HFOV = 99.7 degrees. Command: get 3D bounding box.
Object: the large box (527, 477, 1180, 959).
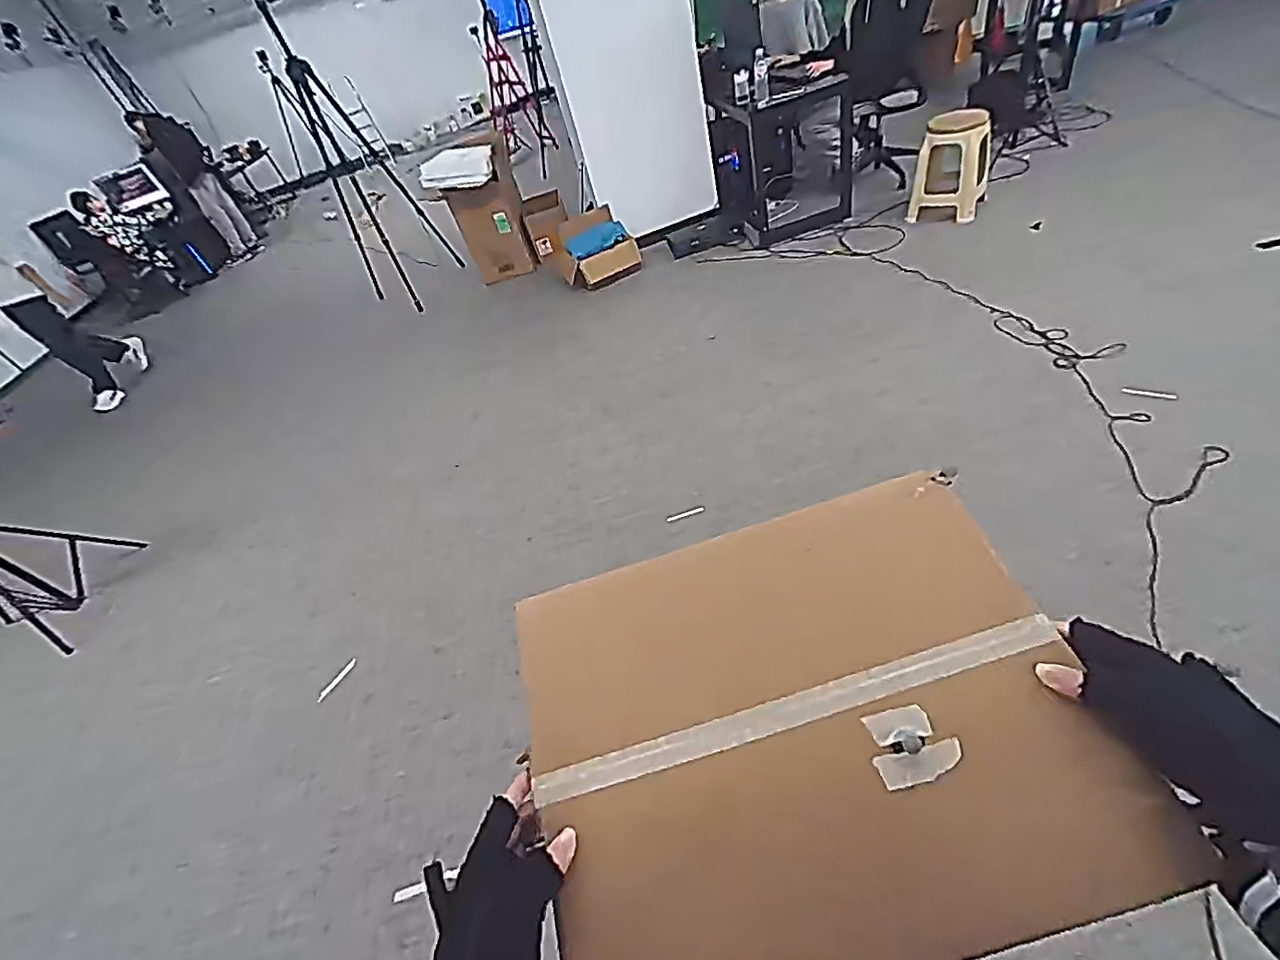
[{"bbox_3d":[0.145,0.259,0.547,0.408,0.320,0.320,-19,56,1],"label":"large box"}]
